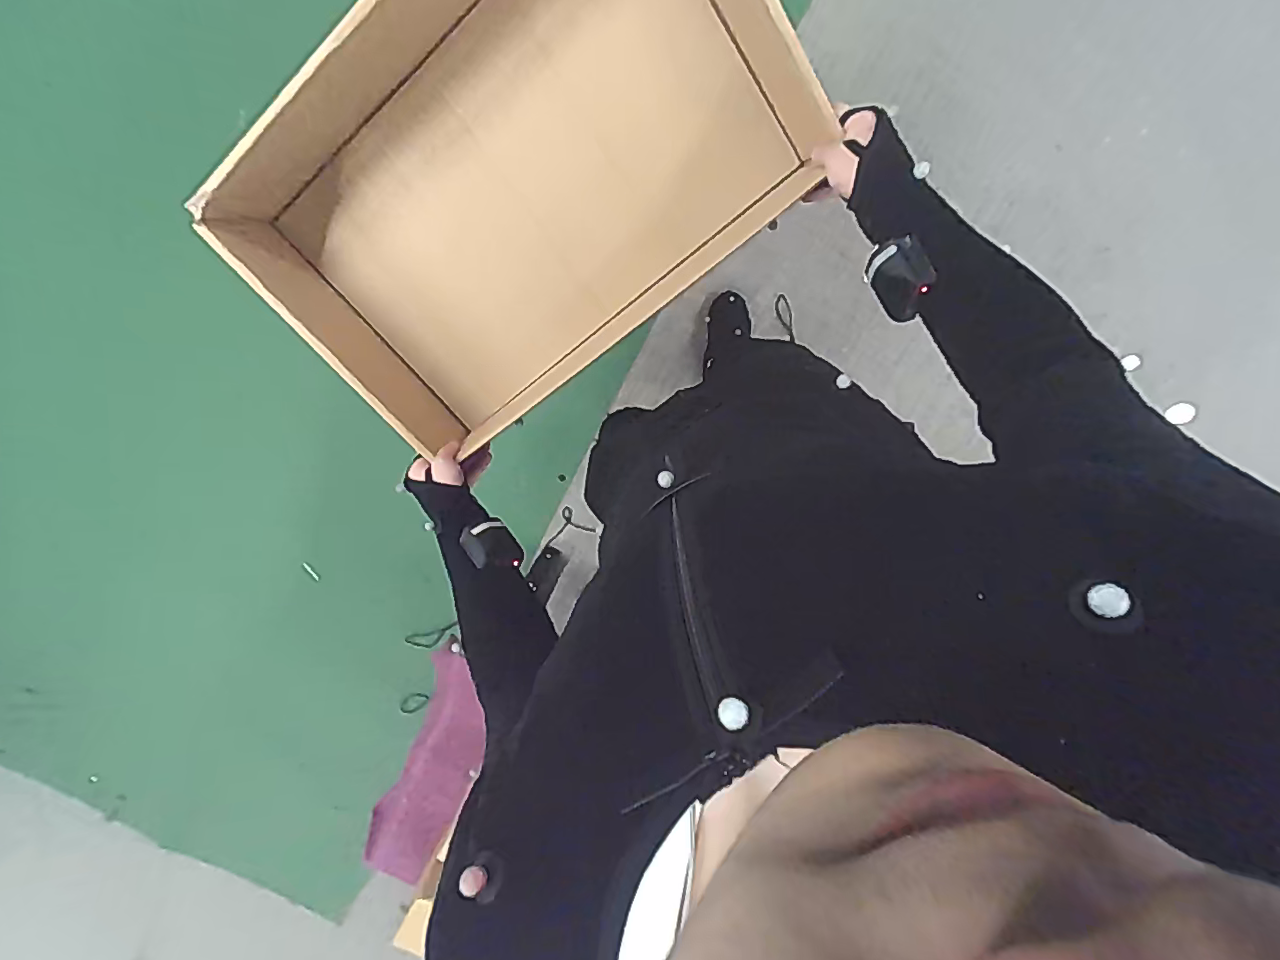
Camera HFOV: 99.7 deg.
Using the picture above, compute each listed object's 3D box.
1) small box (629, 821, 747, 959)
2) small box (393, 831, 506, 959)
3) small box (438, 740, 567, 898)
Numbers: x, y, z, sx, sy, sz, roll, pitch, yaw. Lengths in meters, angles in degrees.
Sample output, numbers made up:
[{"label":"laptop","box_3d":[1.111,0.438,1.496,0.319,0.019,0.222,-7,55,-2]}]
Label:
[{"label":"small box","box_3d":[0.098,0.837,1.083,0.168,0.176,0.179,28,110,-4]},{"label":"small box","box_3d":[-0.388,0.899,1.158,0.168,0.176,0.179,28,108,-5]},{"label":"small box","box_3d":[-0.261,0.660,1.064,0.168,0.176,0.179,28,112,-4]}]
